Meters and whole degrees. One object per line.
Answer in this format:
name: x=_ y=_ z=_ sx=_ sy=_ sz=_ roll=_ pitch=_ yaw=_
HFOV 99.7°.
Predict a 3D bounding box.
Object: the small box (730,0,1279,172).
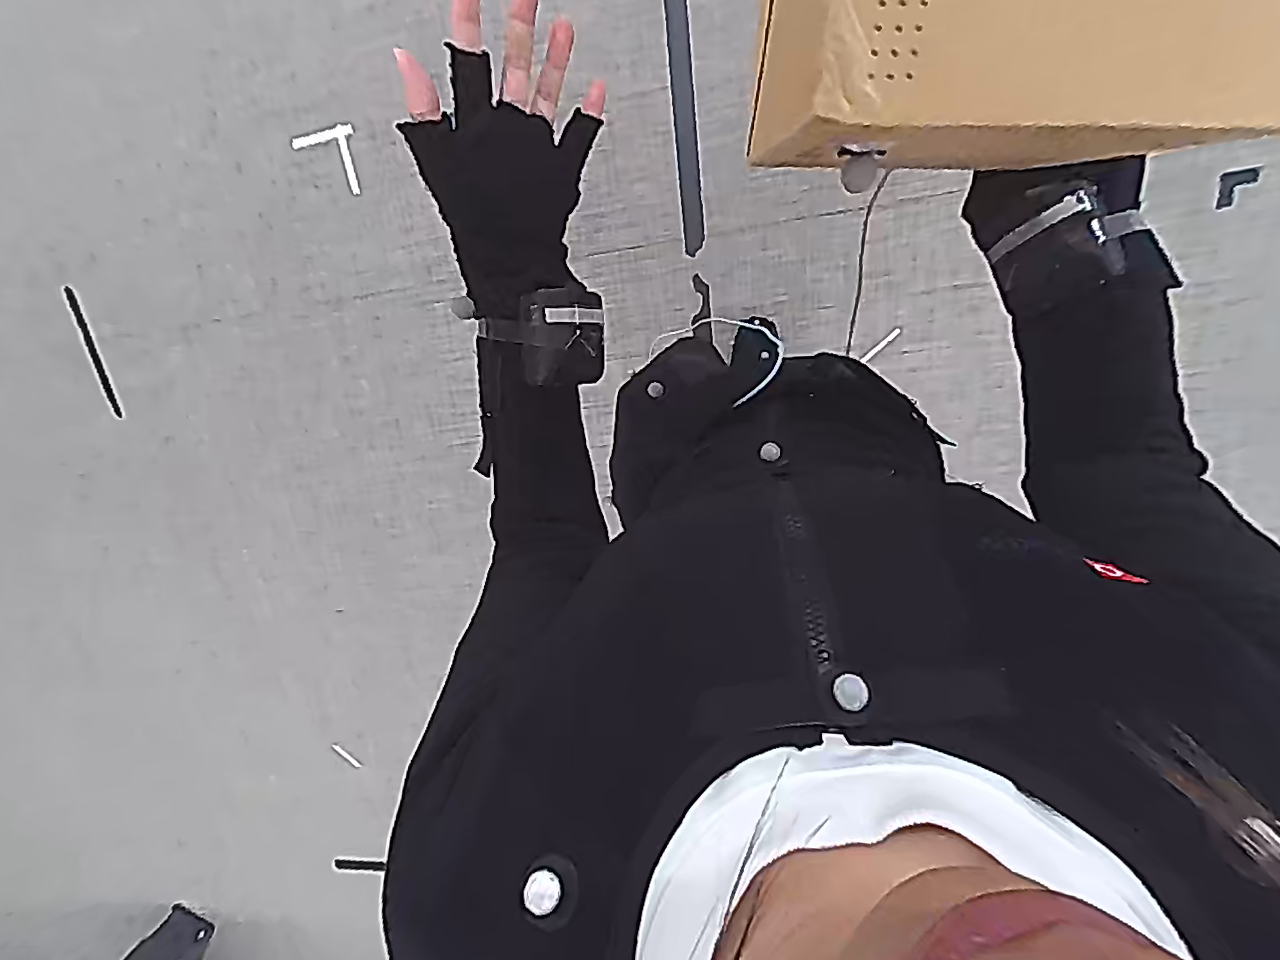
small box: x=0.136 y=-0.240 z=0.231 sx=0.176 sy=0.168 sz=0.179 roll=2 pitch=115 yaw=3
